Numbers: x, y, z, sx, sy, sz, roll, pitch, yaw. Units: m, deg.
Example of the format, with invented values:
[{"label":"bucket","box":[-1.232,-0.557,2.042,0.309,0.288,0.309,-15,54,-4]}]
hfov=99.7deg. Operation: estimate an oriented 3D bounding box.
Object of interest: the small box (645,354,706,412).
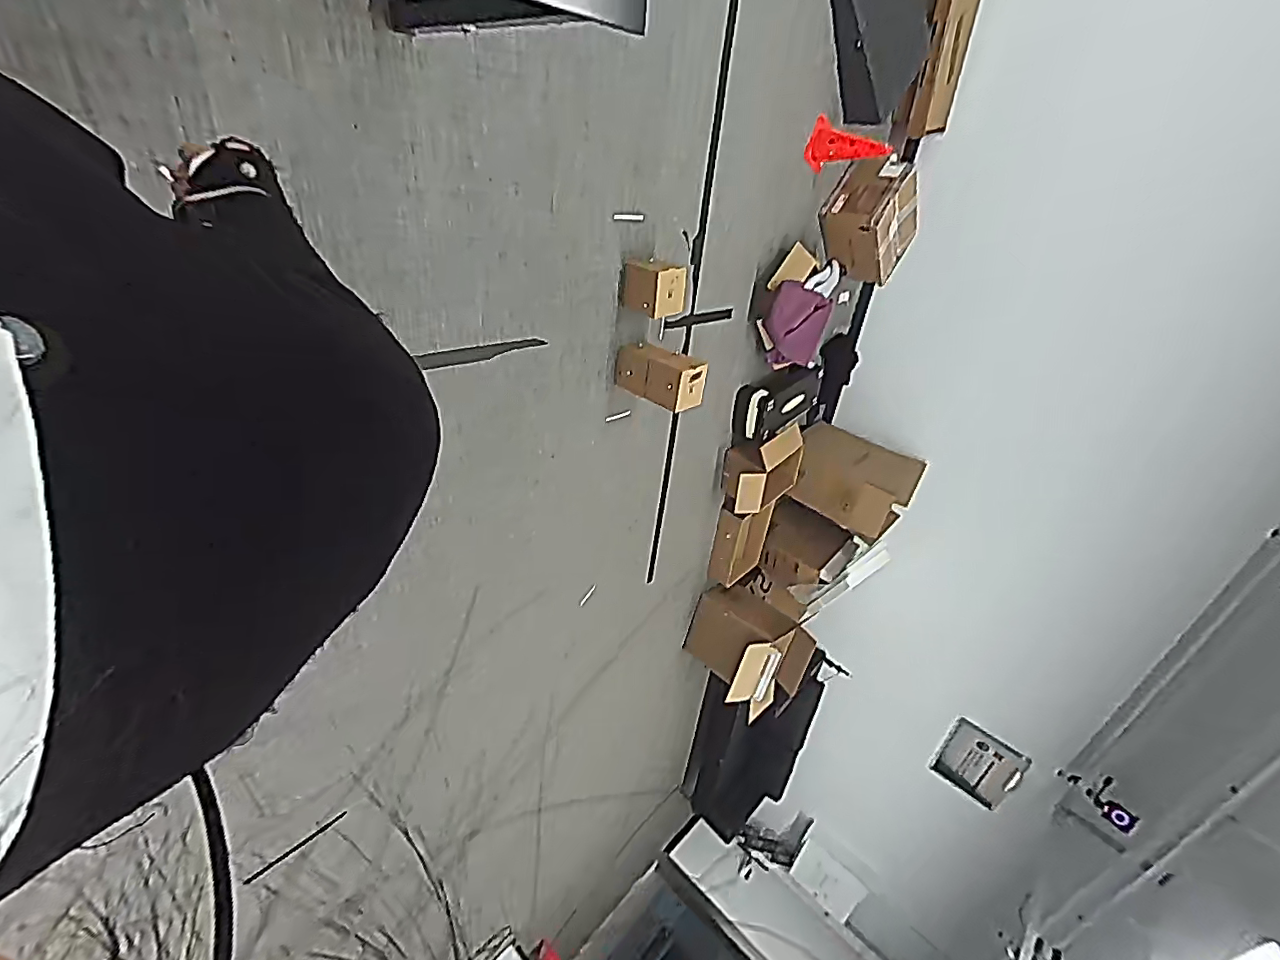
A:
[{"label":"small box","box":[0.137,-0.396,2.164,0.168,0.176,0.179,-25,134,-41]}]

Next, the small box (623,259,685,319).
[{"label":"small box","box":[0.049,-0.739,2.079,0.168,0.176,0.179,-27,135,-40]}]

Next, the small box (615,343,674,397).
[{"label":"small box","box":[0.016,-0.463,2.256,0.179,0.176,0.168,-22,132,-42]}]
